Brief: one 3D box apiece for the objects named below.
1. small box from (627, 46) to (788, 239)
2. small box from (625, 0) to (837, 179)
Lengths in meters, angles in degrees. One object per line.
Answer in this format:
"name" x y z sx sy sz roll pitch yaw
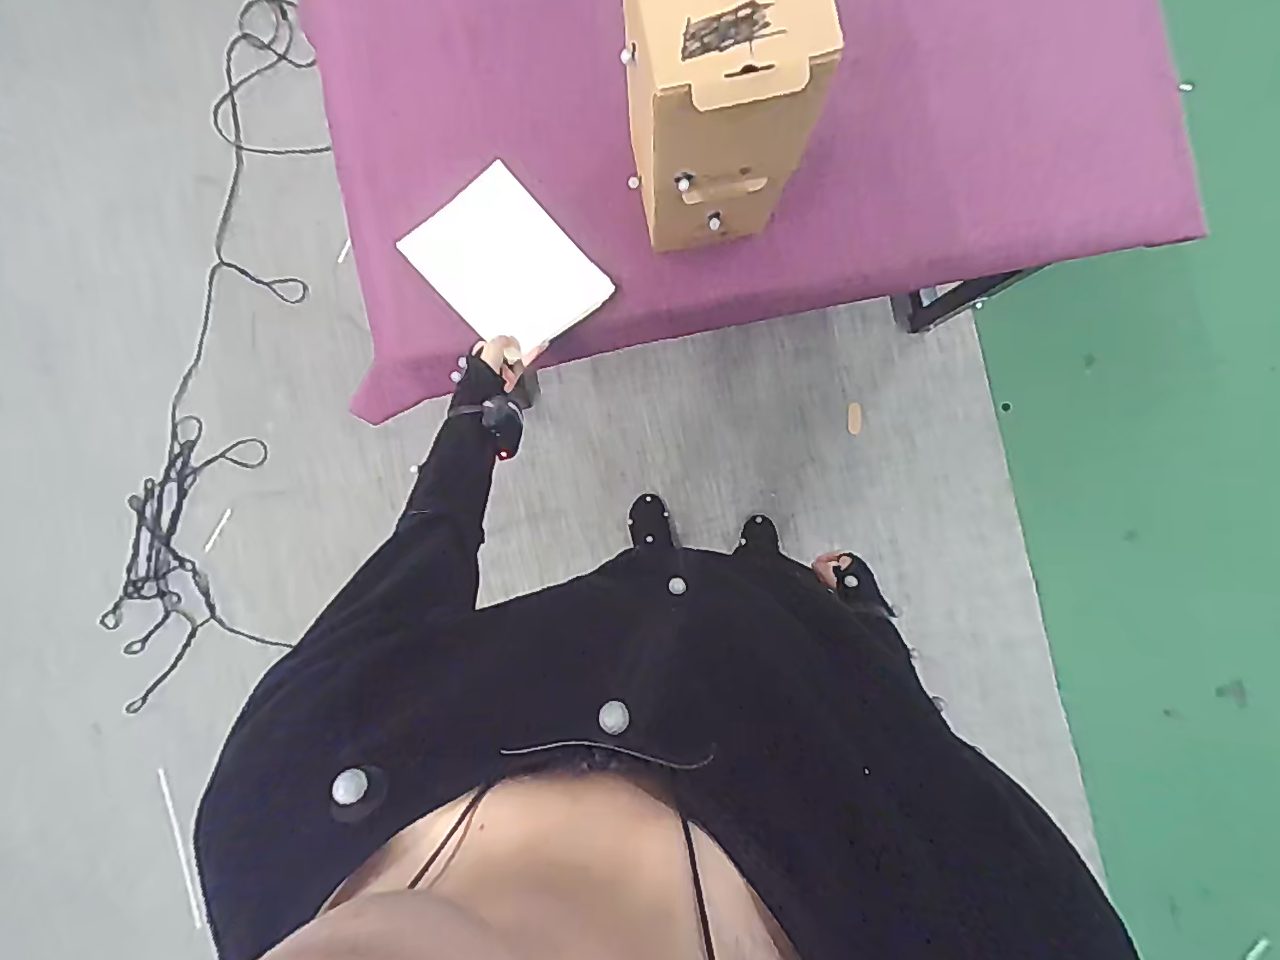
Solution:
"small box" 0.081 -0.439 0.711 0.168 0.176 0.179 -11 90 1
"small box" 0.079 -0.433 0.545 0.168 0.176 0.179 -10 88 1
